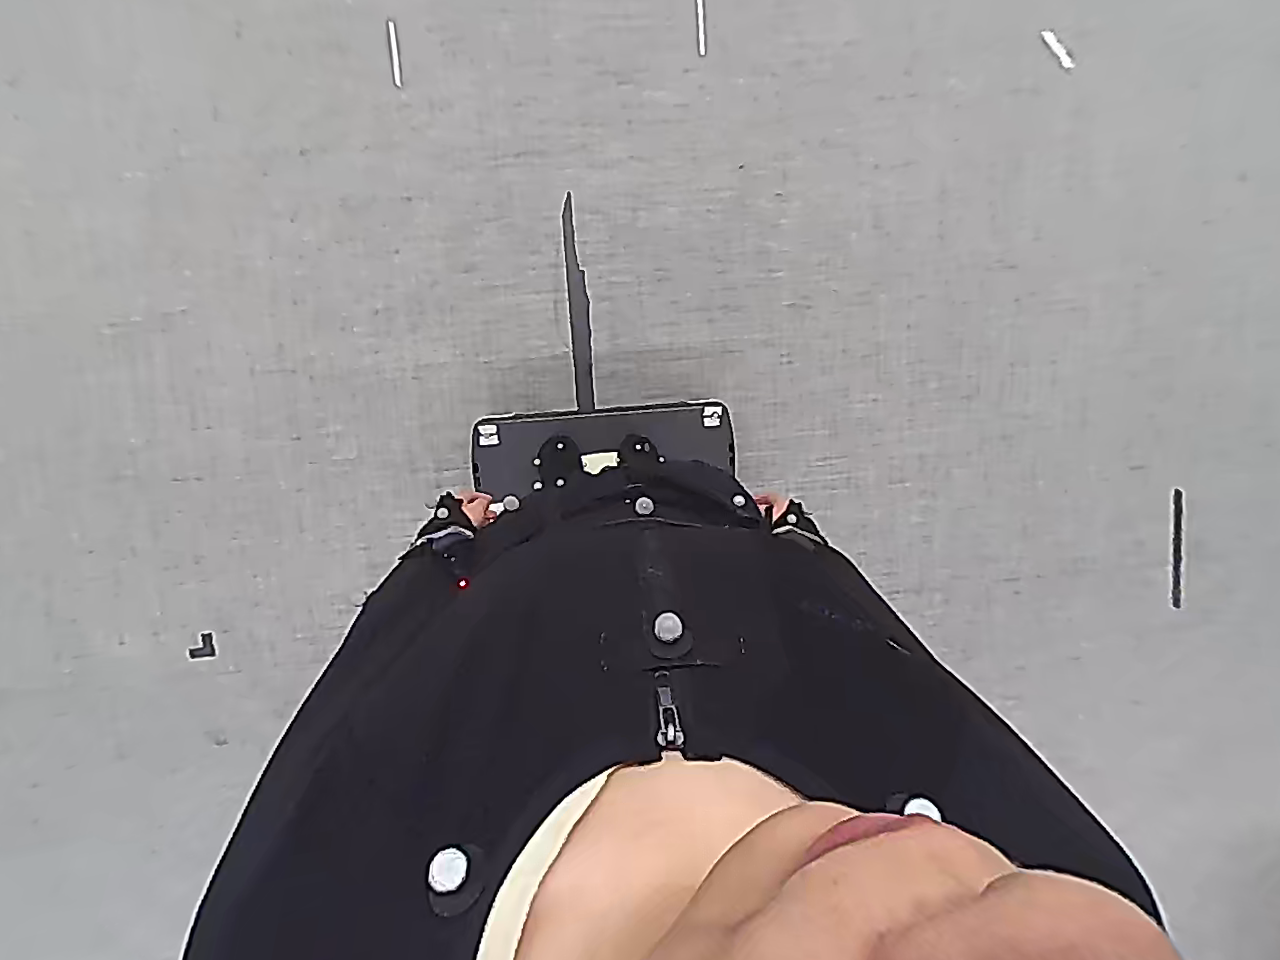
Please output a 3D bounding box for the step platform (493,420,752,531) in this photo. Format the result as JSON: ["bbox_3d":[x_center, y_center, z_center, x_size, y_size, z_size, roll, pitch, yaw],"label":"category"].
[{"bbox_3d":[-0.045,-0.017,1.459,0.684,0.204,0.286,-1,95,-5],"label":"step platform"}]
